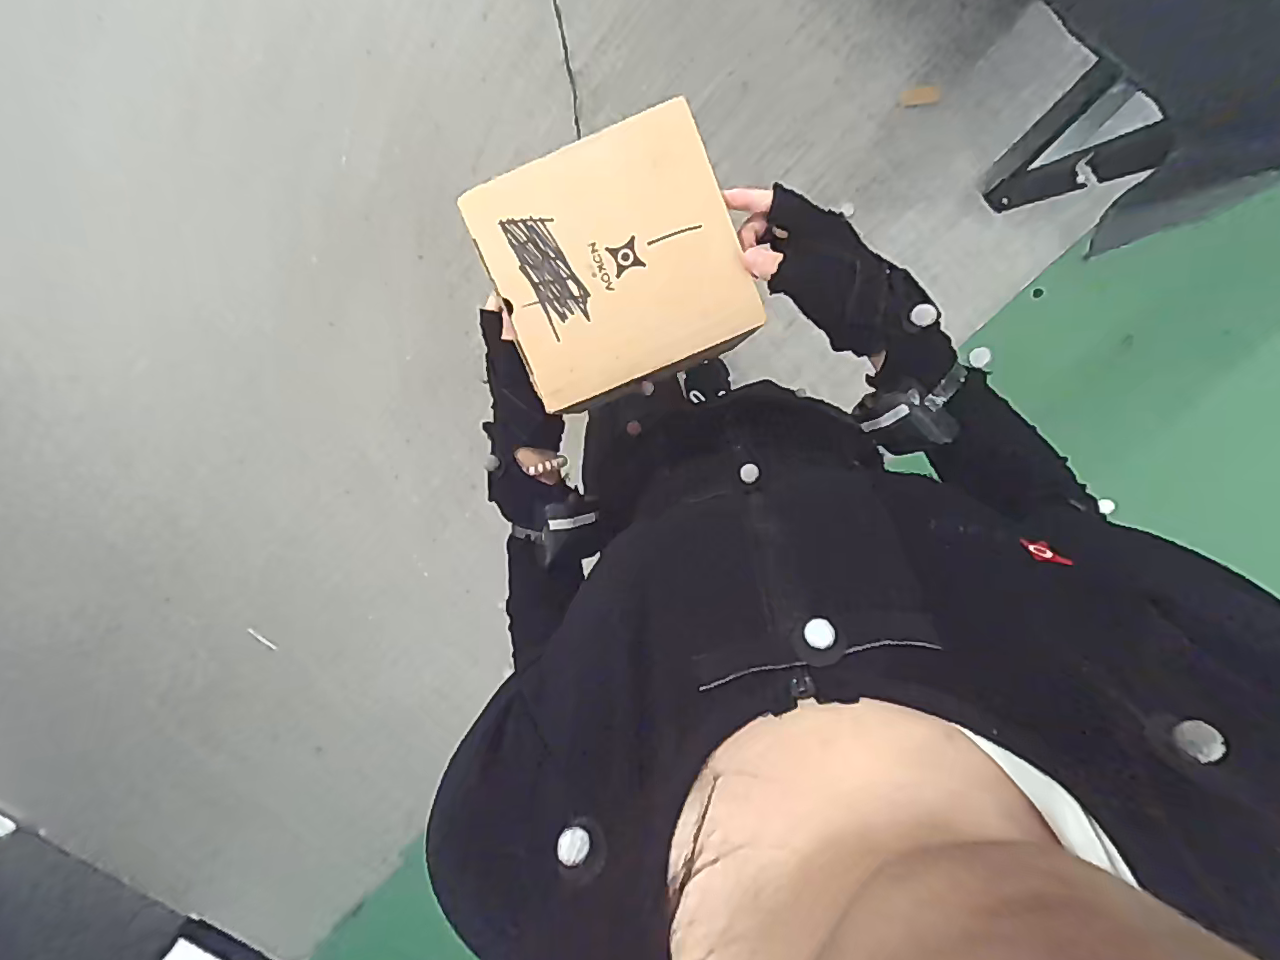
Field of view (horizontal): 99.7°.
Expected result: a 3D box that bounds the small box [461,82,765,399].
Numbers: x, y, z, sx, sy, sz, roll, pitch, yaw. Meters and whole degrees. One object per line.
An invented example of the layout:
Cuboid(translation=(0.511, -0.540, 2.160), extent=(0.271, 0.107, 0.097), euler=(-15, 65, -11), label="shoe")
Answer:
Cuboid(translation=(-0.016, -0.175, 0.462), extent=(0.179, 0.176, 0.168), euler=(-22, 96, 4), label="small box")
